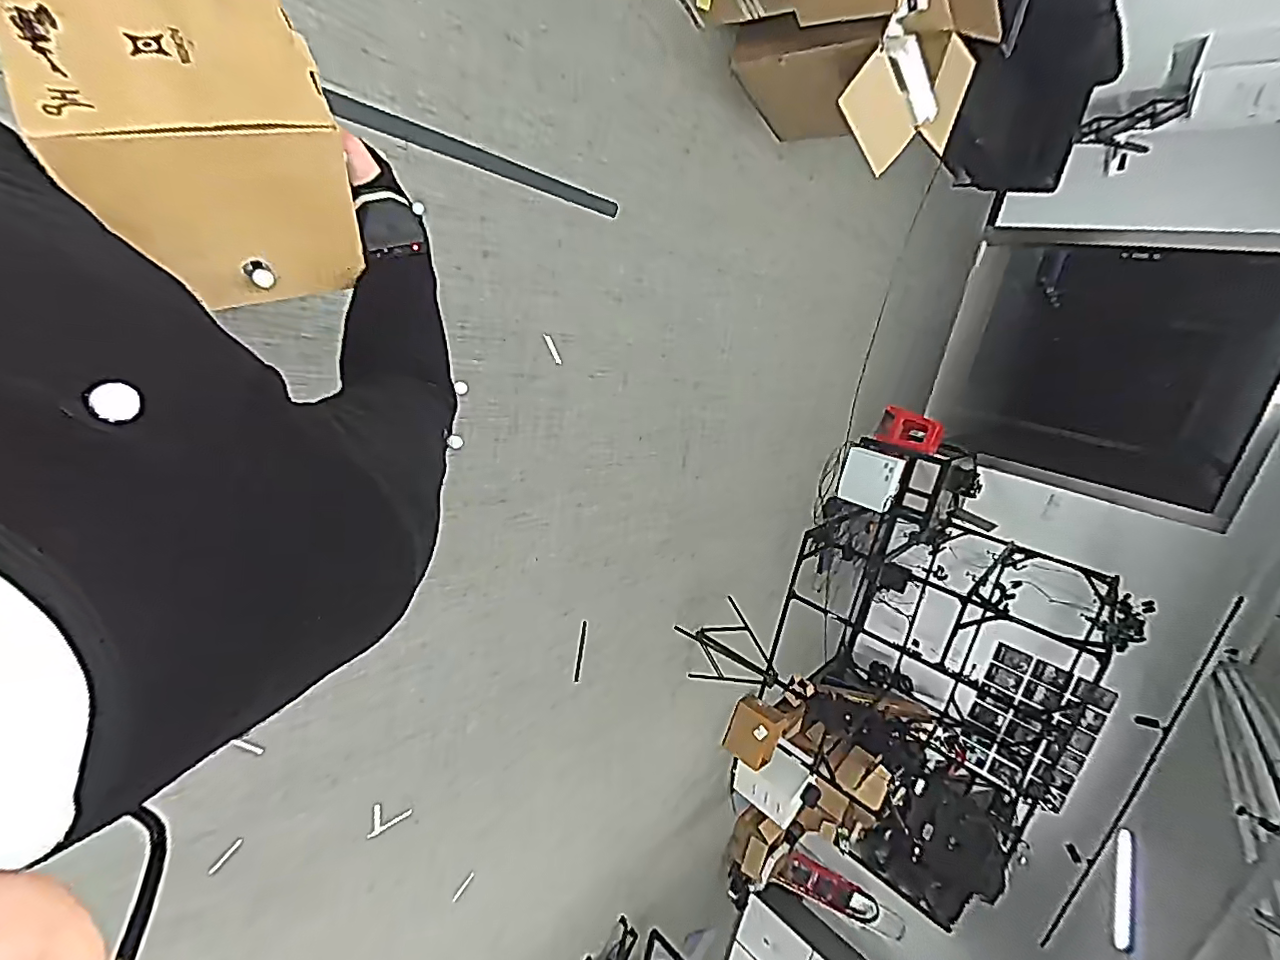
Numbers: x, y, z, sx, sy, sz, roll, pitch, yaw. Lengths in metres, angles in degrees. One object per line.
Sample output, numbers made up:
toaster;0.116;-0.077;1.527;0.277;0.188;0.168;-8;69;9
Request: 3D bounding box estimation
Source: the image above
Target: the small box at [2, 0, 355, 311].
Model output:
small box;-0.364;-0.274;0.465;0.179;0.168;0.176;-22;165;-26
